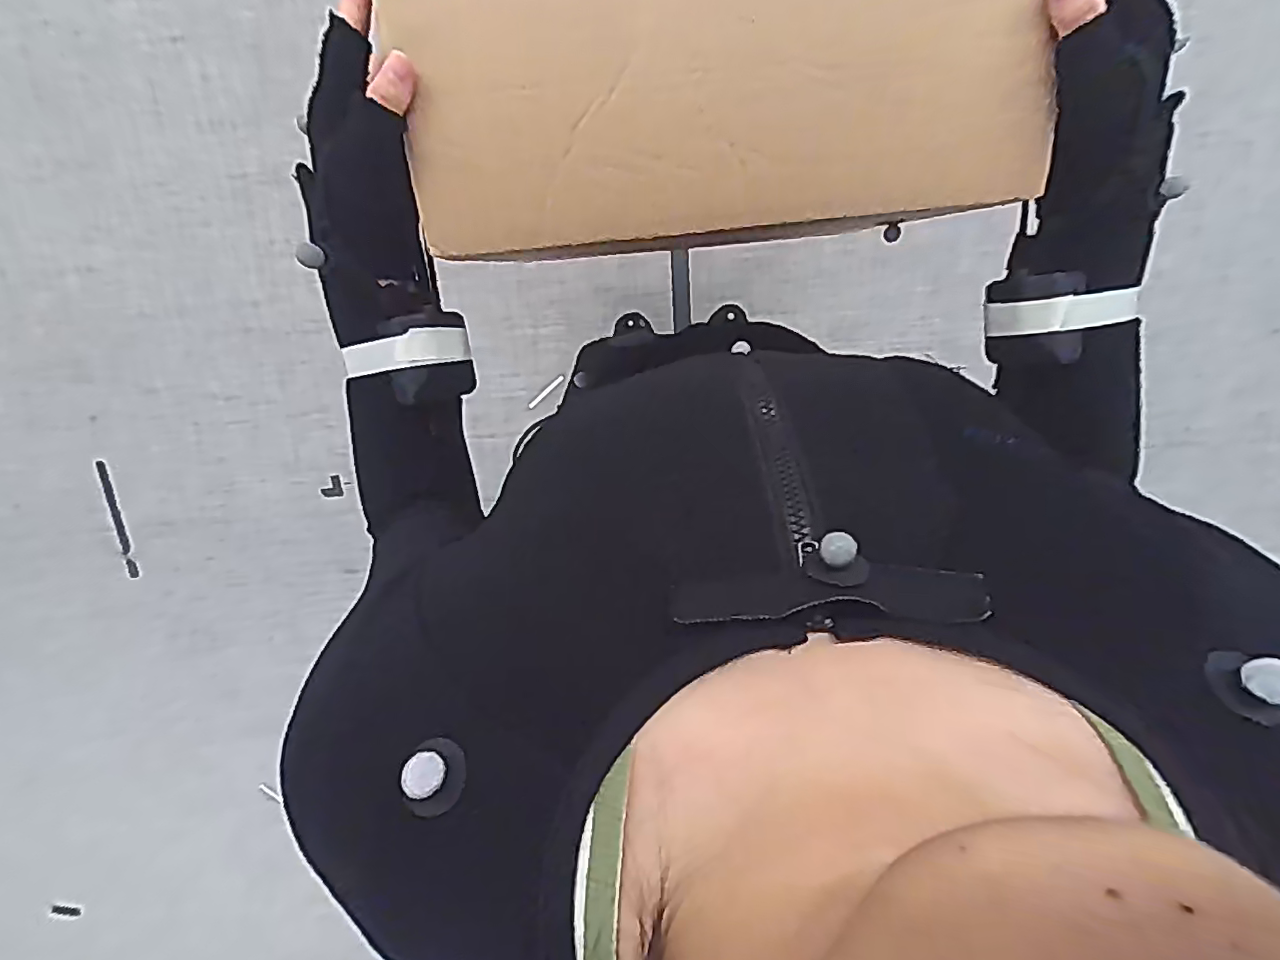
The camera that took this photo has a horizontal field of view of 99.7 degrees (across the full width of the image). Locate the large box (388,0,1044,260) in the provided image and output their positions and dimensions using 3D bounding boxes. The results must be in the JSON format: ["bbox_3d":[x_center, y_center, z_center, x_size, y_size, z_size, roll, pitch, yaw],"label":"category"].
[{"bbox_3d":[0.045,-0.371,0.453,0.408,0.320,0.320,-5,111,2],"label":"large box"}]

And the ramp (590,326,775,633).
[{"bbox_3d":[0.150,0.059,1.625,0.509,0.206,0.991,-6,106,2],"label":"ramp"}]
